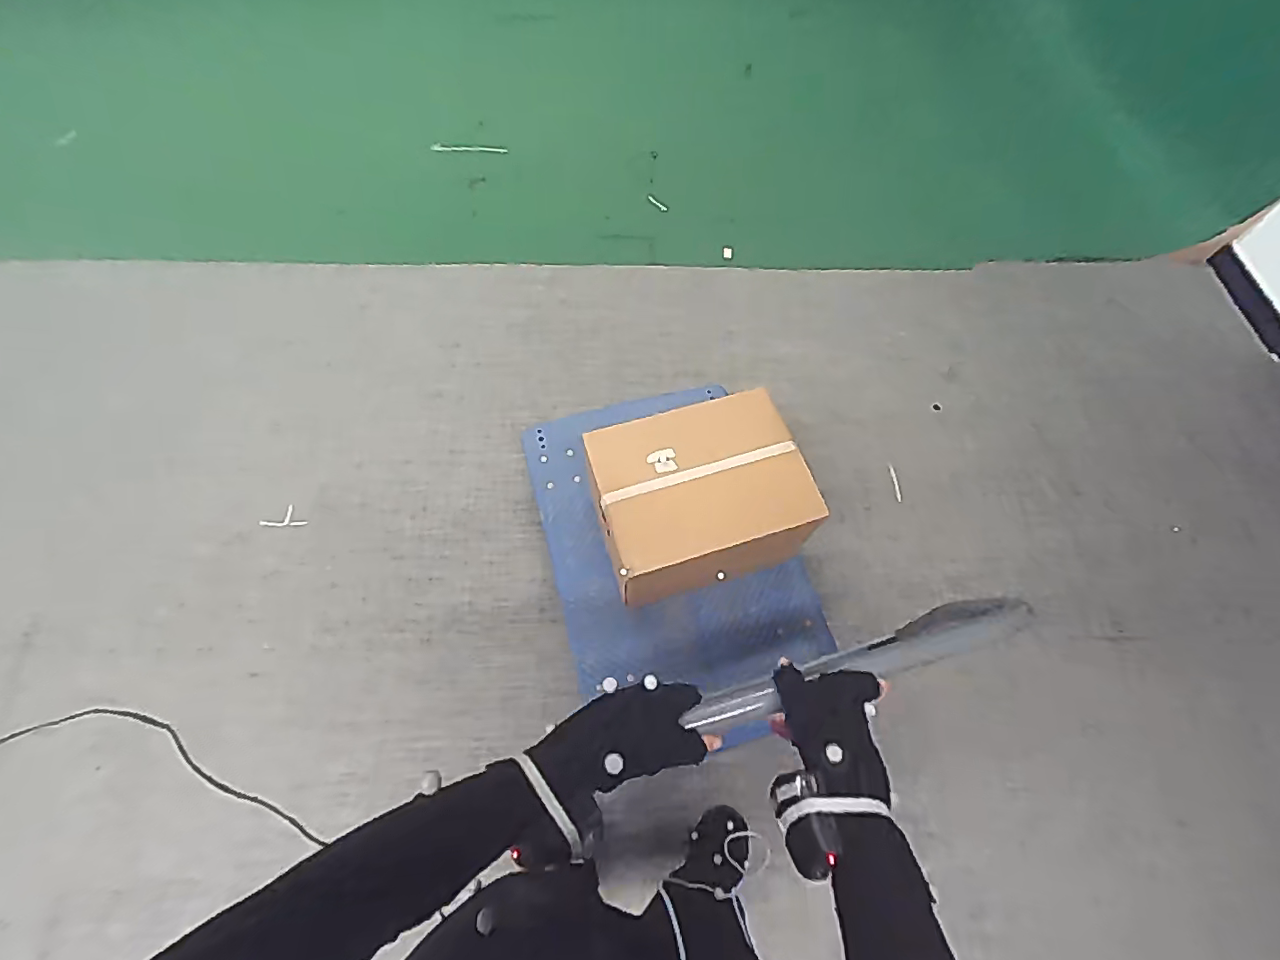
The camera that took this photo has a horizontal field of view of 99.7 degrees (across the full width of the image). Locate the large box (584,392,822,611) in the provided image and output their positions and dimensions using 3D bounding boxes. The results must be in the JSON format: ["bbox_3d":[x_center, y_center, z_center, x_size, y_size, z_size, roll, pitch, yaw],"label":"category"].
[{"bbox_3d":[0.120,0.060,1.205,0.408,0.320,0.320,-17,65,-8],"label":"large box"}]
